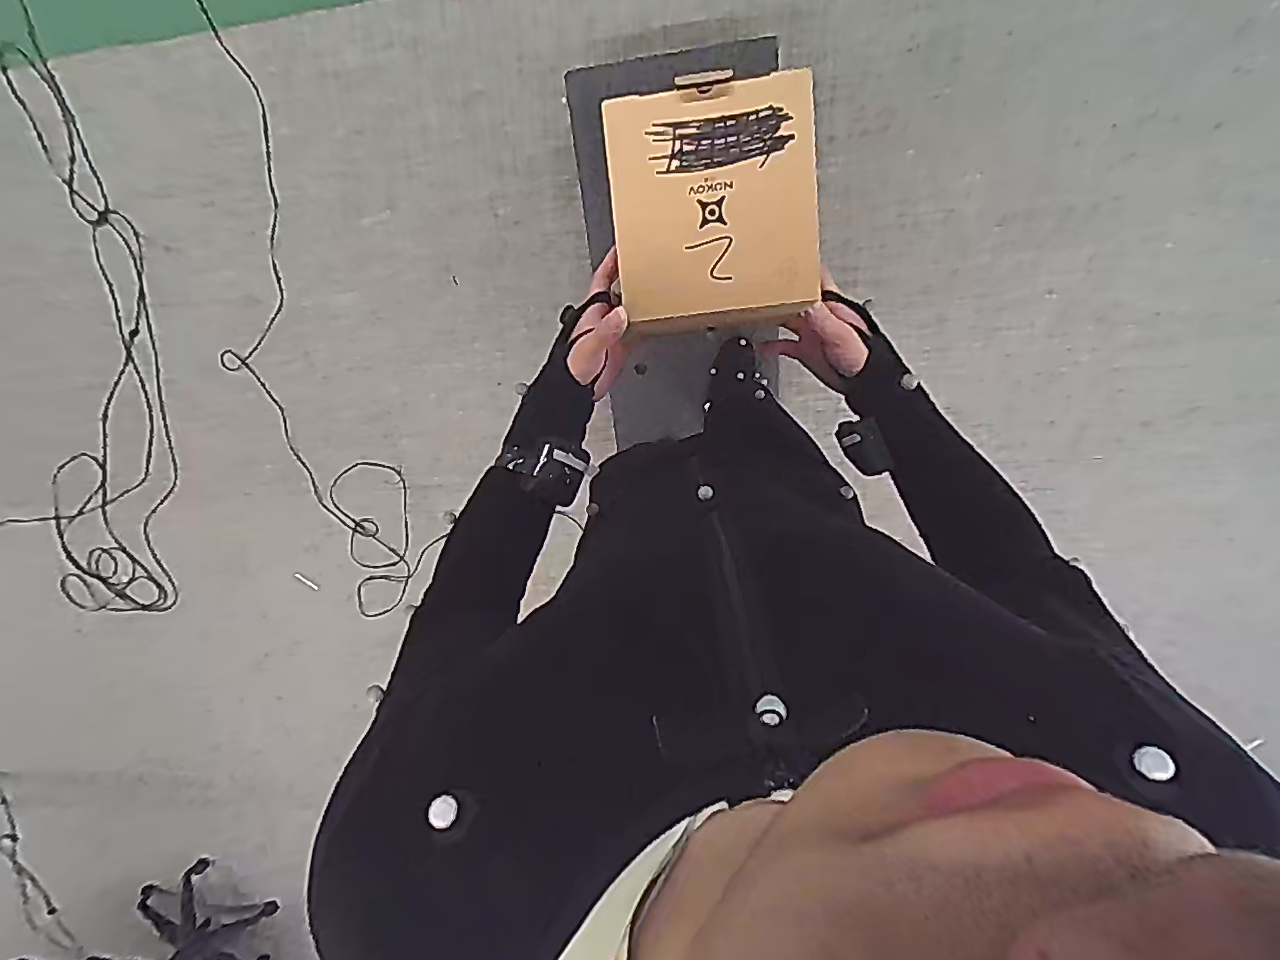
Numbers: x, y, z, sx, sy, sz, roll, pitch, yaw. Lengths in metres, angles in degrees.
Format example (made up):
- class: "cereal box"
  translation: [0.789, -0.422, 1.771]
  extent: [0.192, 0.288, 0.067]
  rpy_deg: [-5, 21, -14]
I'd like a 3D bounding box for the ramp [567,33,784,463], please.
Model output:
- class: "ramp"
  translation: [0.129, -0.516, 1.424]
  extent: [0.509, 0.206, 0.991]
  rpy_deg: [-5, 105, 8]
